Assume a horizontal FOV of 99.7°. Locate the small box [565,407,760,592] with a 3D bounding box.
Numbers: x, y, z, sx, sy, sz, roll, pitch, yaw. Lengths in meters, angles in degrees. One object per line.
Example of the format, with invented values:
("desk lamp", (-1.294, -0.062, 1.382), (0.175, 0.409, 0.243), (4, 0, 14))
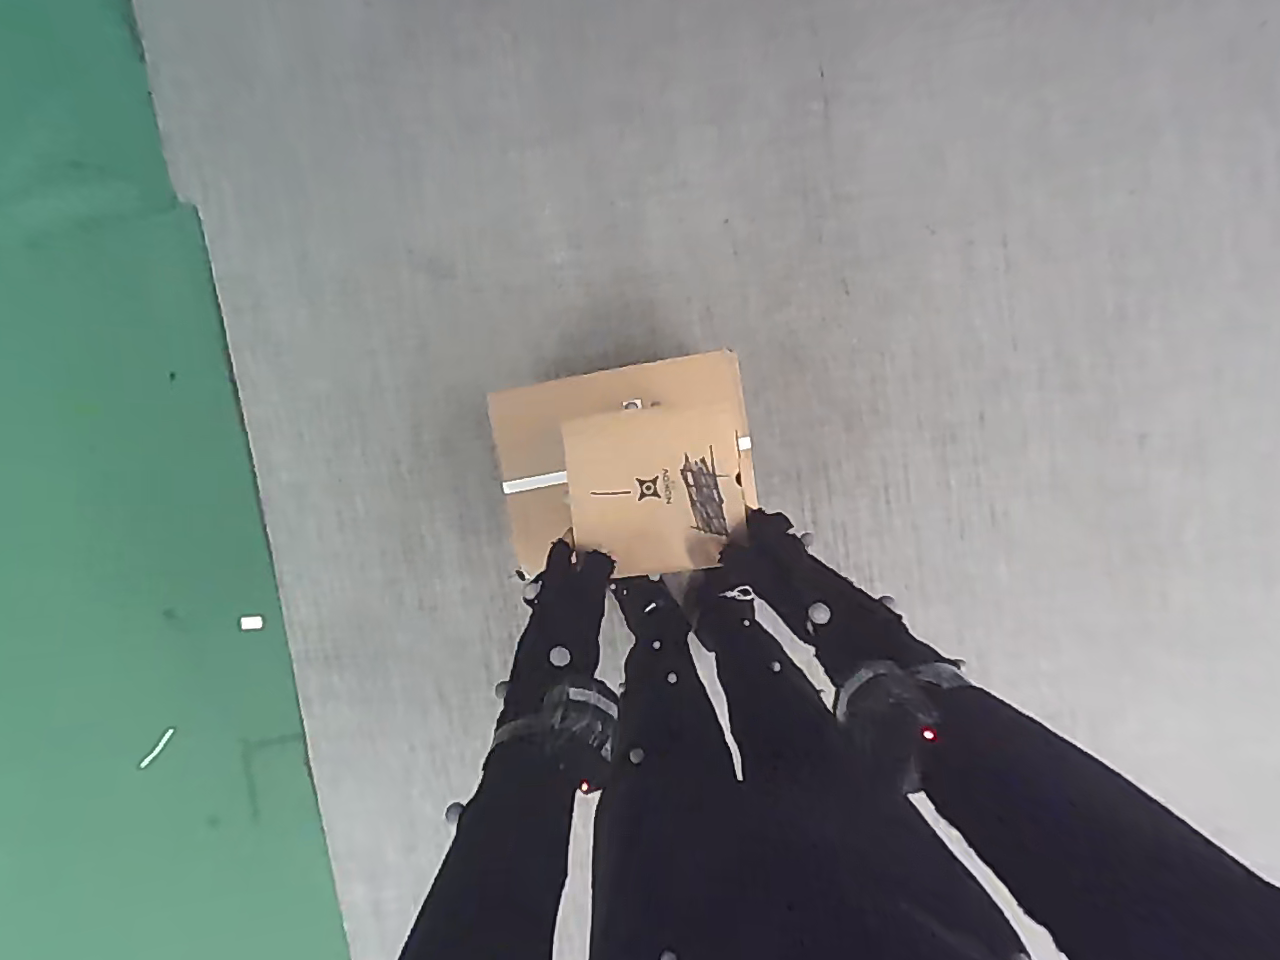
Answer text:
("small box", (0.017, 0.024, 0.612), (0.179, 0.176, 0.168), (-9, 85, -4))
